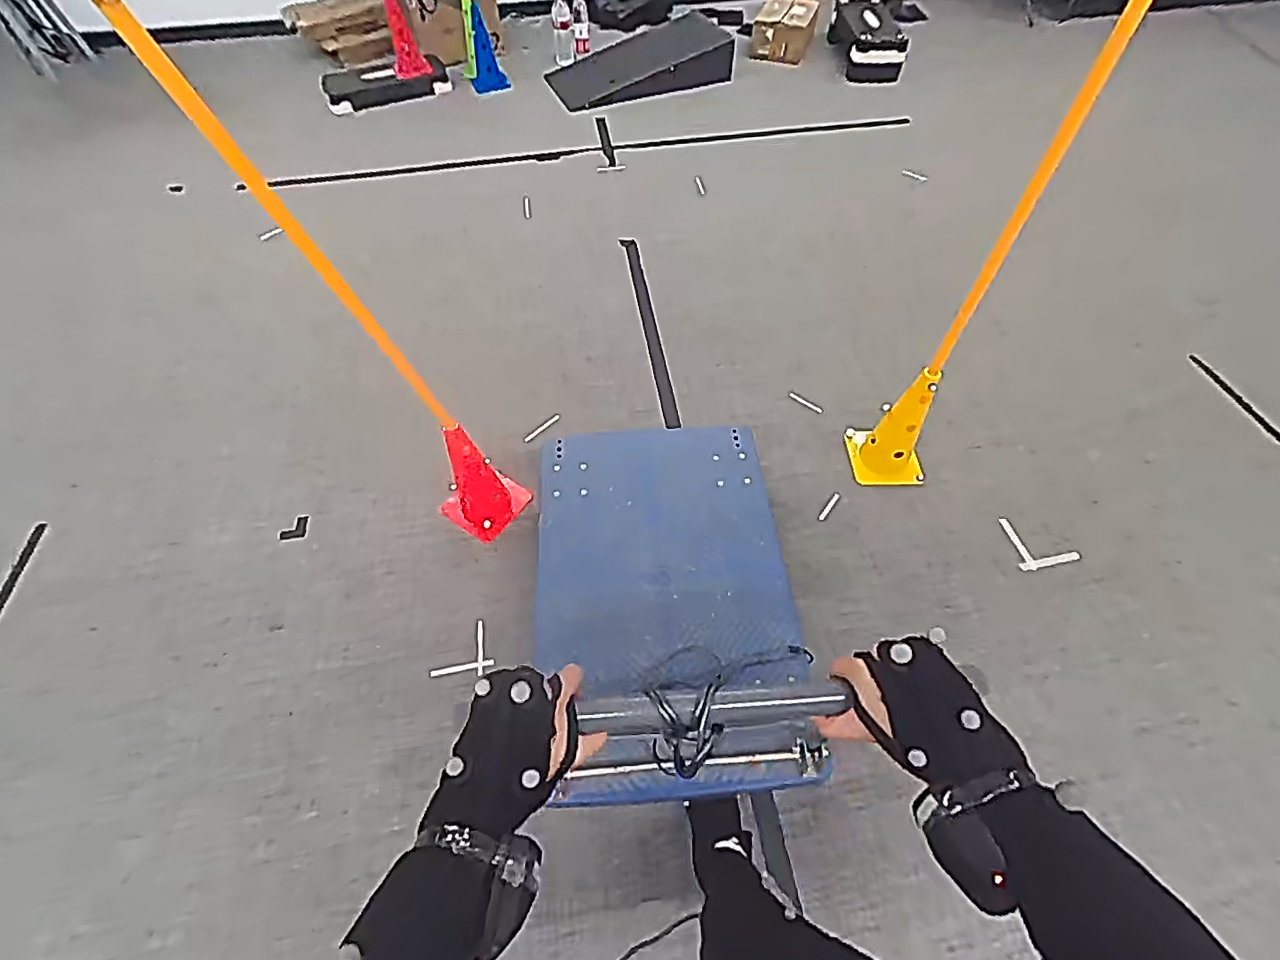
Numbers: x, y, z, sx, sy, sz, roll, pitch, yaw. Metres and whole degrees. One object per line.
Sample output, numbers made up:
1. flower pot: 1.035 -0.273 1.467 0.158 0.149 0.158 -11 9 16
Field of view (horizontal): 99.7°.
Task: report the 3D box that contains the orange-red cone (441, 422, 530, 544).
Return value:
1. orange-red cone: -0.441 -0.025 1.413 0.198 0.360 0.199 31 61 19
